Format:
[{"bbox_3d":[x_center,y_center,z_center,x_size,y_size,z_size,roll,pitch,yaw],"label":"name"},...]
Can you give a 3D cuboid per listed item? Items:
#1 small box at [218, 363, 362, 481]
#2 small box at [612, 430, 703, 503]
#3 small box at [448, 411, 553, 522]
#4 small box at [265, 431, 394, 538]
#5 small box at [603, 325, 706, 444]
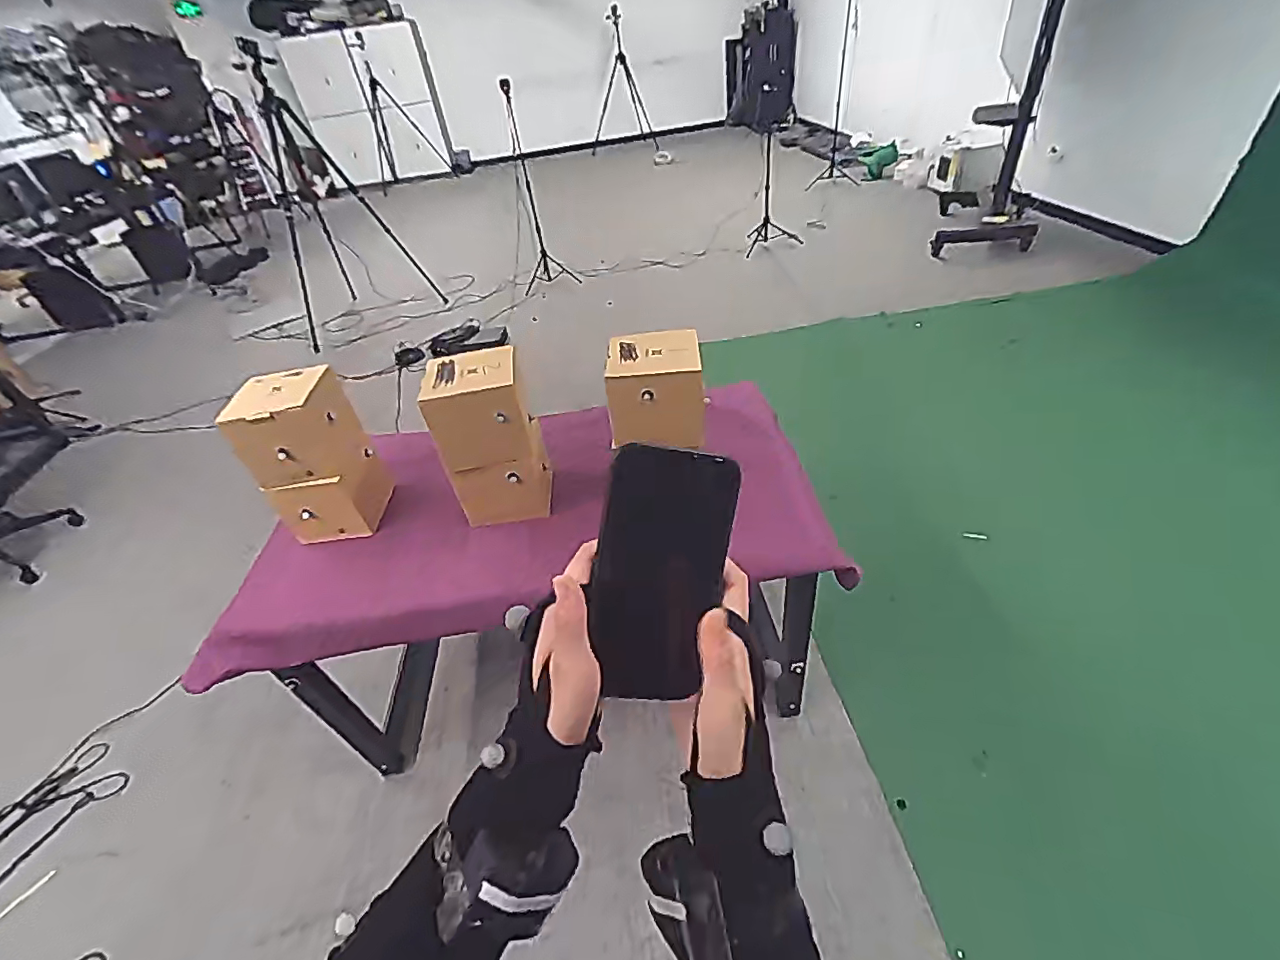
[{"bbox_3d":[-0.703,-0.113,1.114,0.168,0.176,0.179,-11,41,-2],"label":"small box"},{"bbox_3d":[0.045,-0.067,1.168,0.179,0.176,0.168,-5,40,7],"label":"small box"},{"bbox_3d":[-0.293,-0.028,1.186,0.179,0.176,0.168,-8,40,2],"label":"small box"},{"bbox_3d":[-0.681,0.016,1.213,0.168,0.176,0.179,-8,40,2],"label":"small box"},{"bbox_3d":[0.033,-0.182,1.050,0.179,0.176,0.168,-4,40,6],"label":"small box"}]
